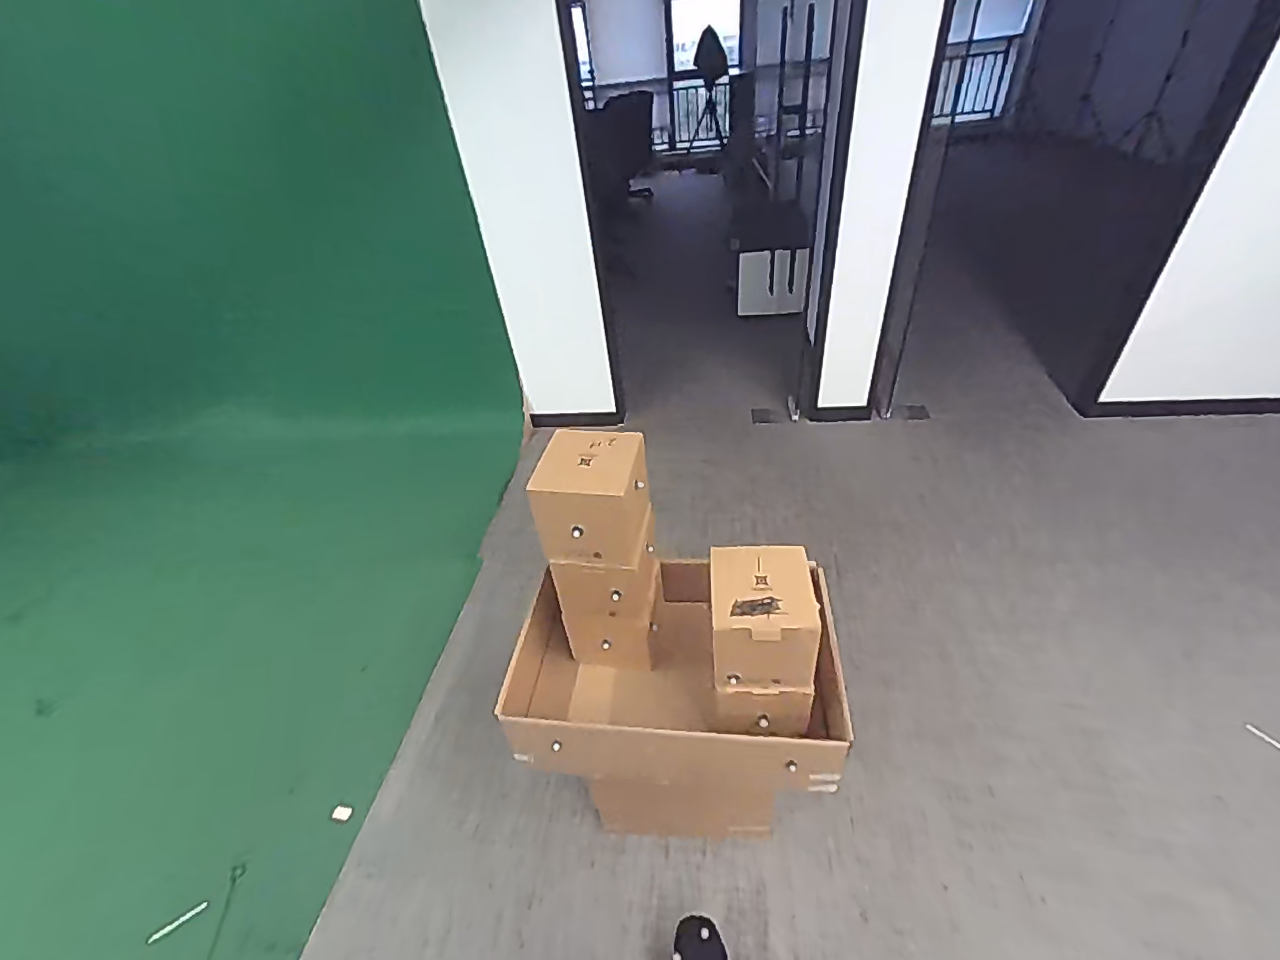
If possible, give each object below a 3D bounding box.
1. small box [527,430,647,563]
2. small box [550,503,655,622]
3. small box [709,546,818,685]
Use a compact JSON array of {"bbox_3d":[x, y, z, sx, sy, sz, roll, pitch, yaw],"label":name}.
[{"bbox_3d":[-0.083,0.030,0.974,0.168,0.176,0.179,5,40,11],"label":"small box"},{"bbox_3d":[-0.064,0.160,1.073,0.168,0.176,0.179,3,39,10],"label":"small box"},{"bbox_3d":[0.206,0.235,0.936,0.168,0.176,0.179,-1,39,7],"label":"small box"}]
